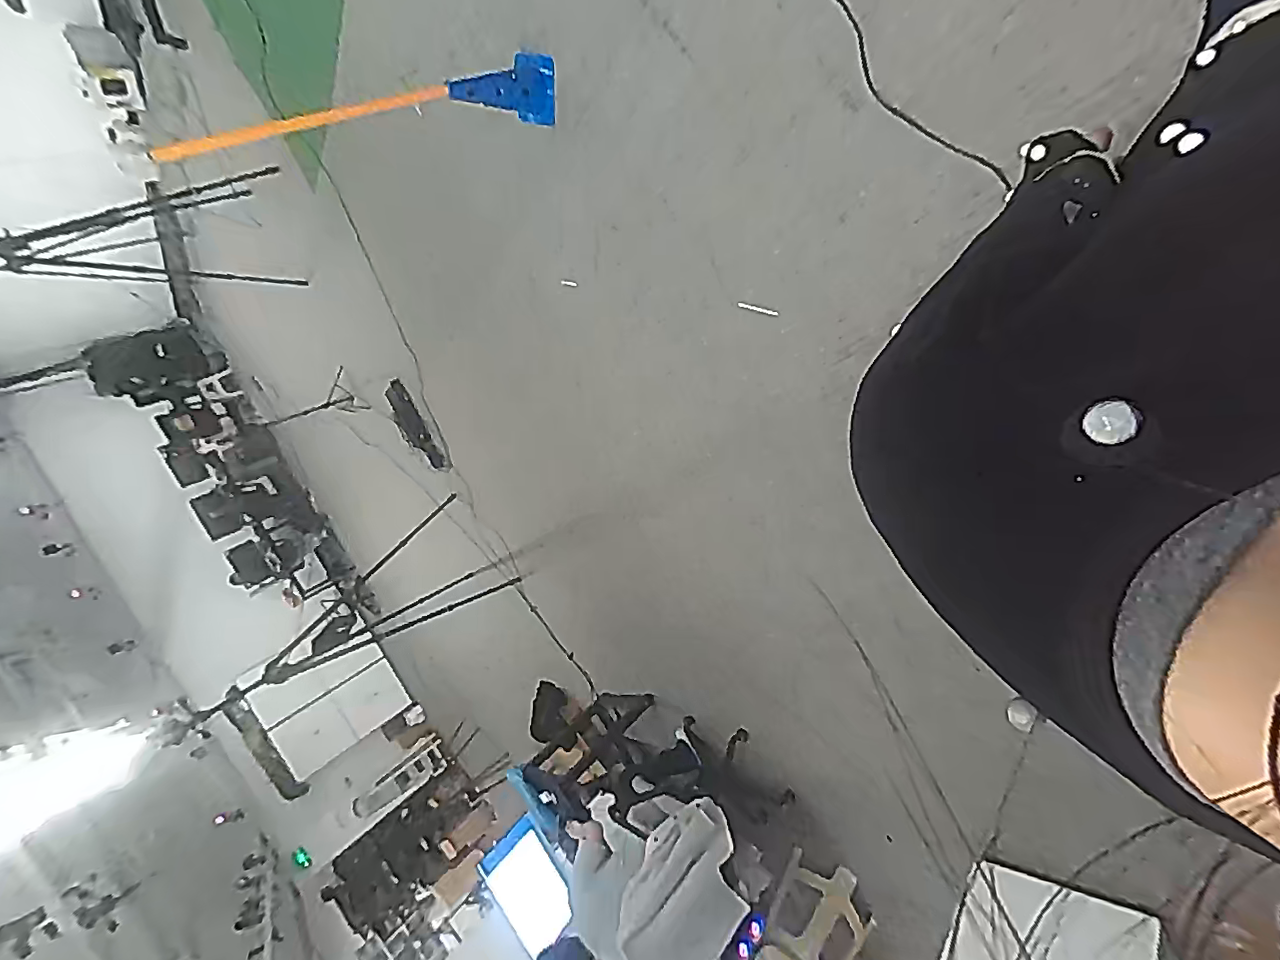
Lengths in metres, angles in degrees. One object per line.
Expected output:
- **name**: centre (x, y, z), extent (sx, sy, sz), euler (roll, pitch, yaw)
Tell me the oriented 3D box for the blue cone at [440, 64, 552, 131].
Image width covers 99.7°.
- **blue cone**: centre (-0.484, -1.267, 1.799), extent (0.192, 0.380, 0.193), euler (29, 135, 31)
